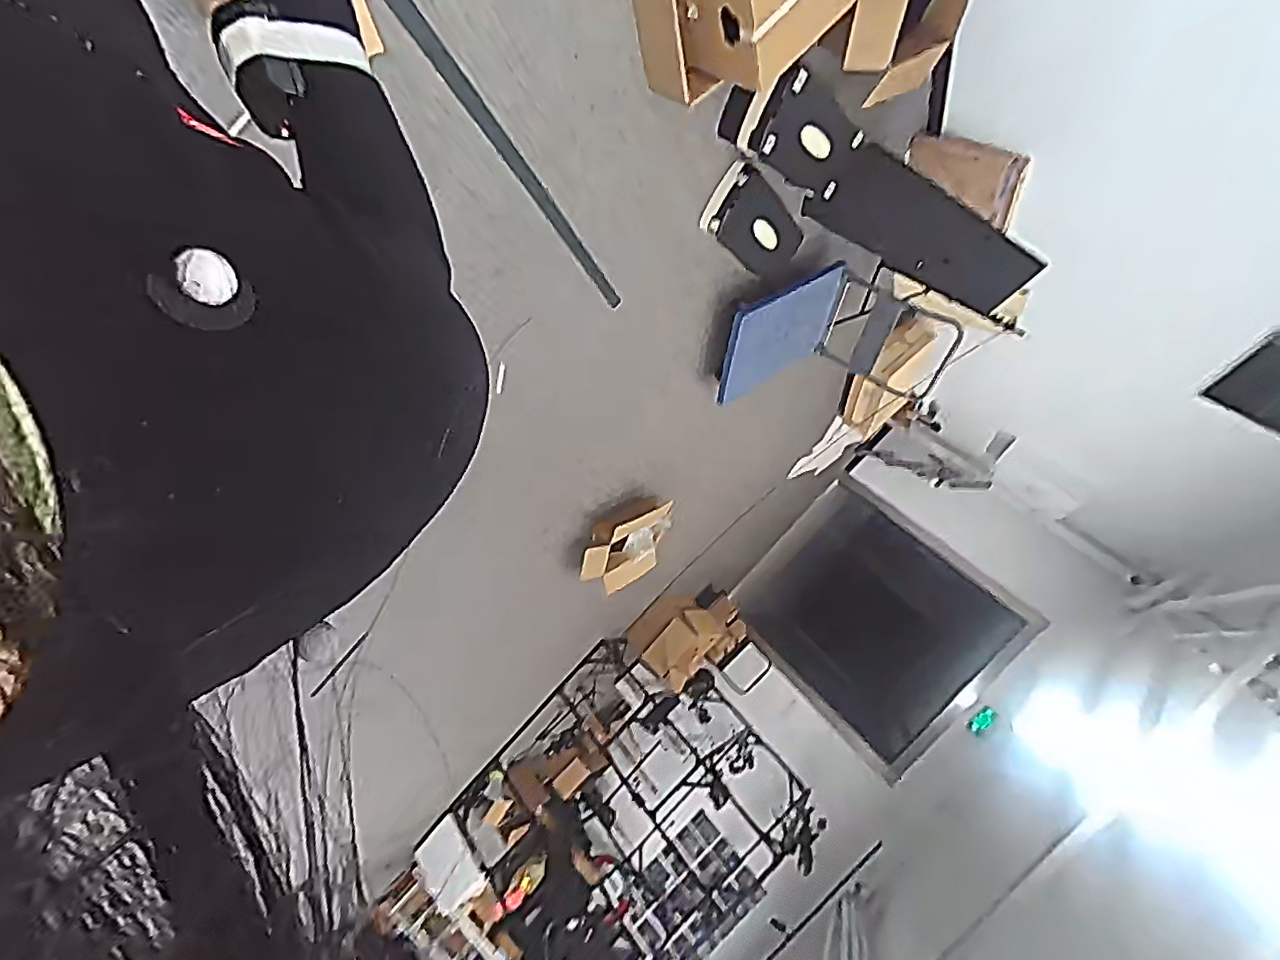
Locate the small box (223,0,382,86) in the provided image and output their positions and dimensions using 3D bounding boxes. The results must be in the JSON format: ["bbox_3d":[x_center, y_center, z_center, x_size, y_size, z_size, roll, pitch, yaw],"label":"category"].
[{"bbox_3d":[-0.557,-0.769,0.857,0.179,0.176,0.168,-37,153,-18],"label":"small box"}]
